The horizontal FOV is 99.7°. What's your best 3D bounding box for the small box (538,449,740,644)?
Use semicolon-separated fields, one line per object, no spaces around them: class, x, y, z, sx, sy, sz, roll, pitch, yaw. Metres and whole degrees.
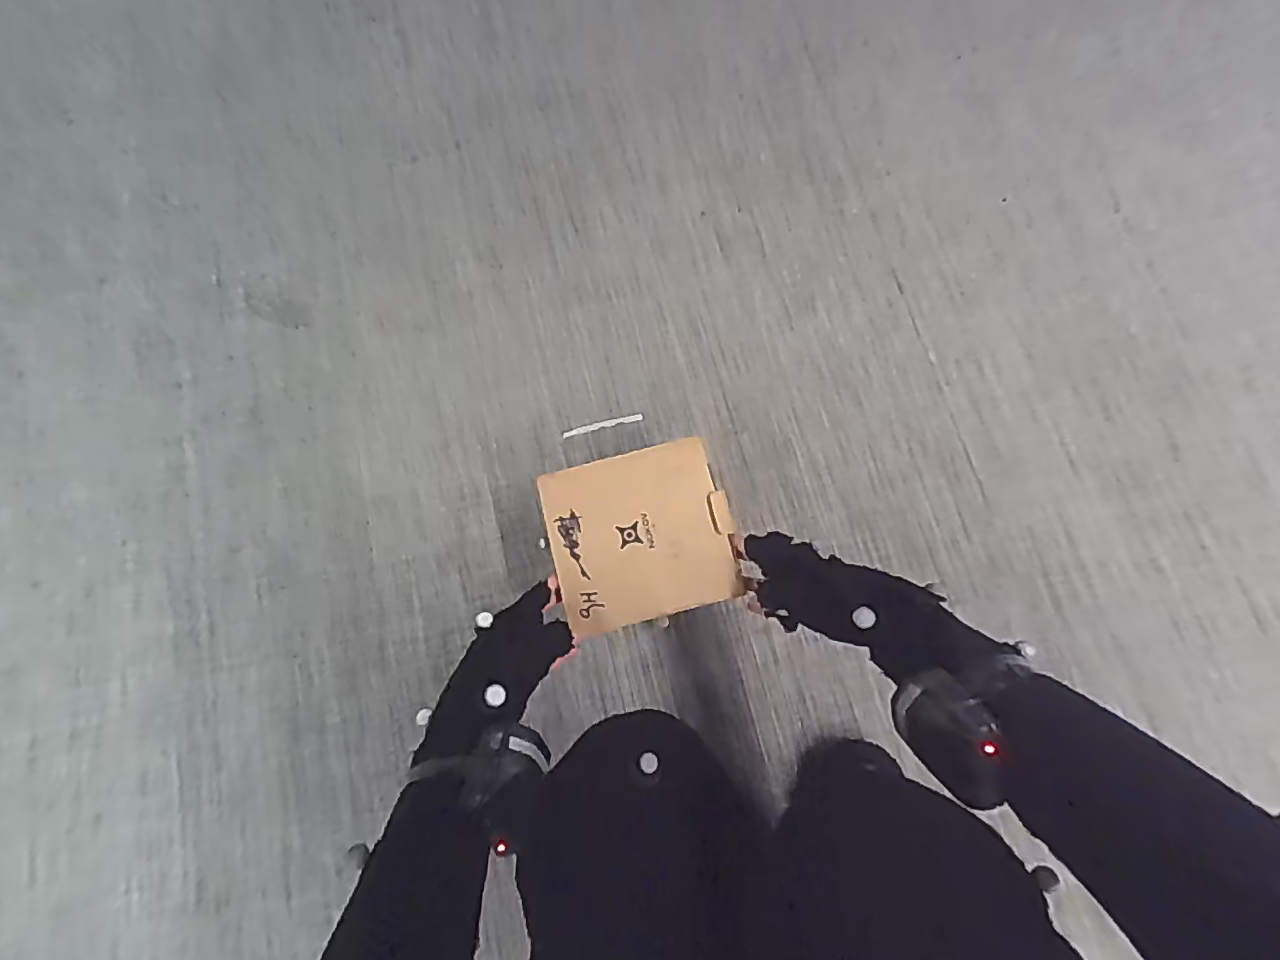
small box;-0.002;0.078;0.610;0.179;0.176;0.168;-13;77;0
